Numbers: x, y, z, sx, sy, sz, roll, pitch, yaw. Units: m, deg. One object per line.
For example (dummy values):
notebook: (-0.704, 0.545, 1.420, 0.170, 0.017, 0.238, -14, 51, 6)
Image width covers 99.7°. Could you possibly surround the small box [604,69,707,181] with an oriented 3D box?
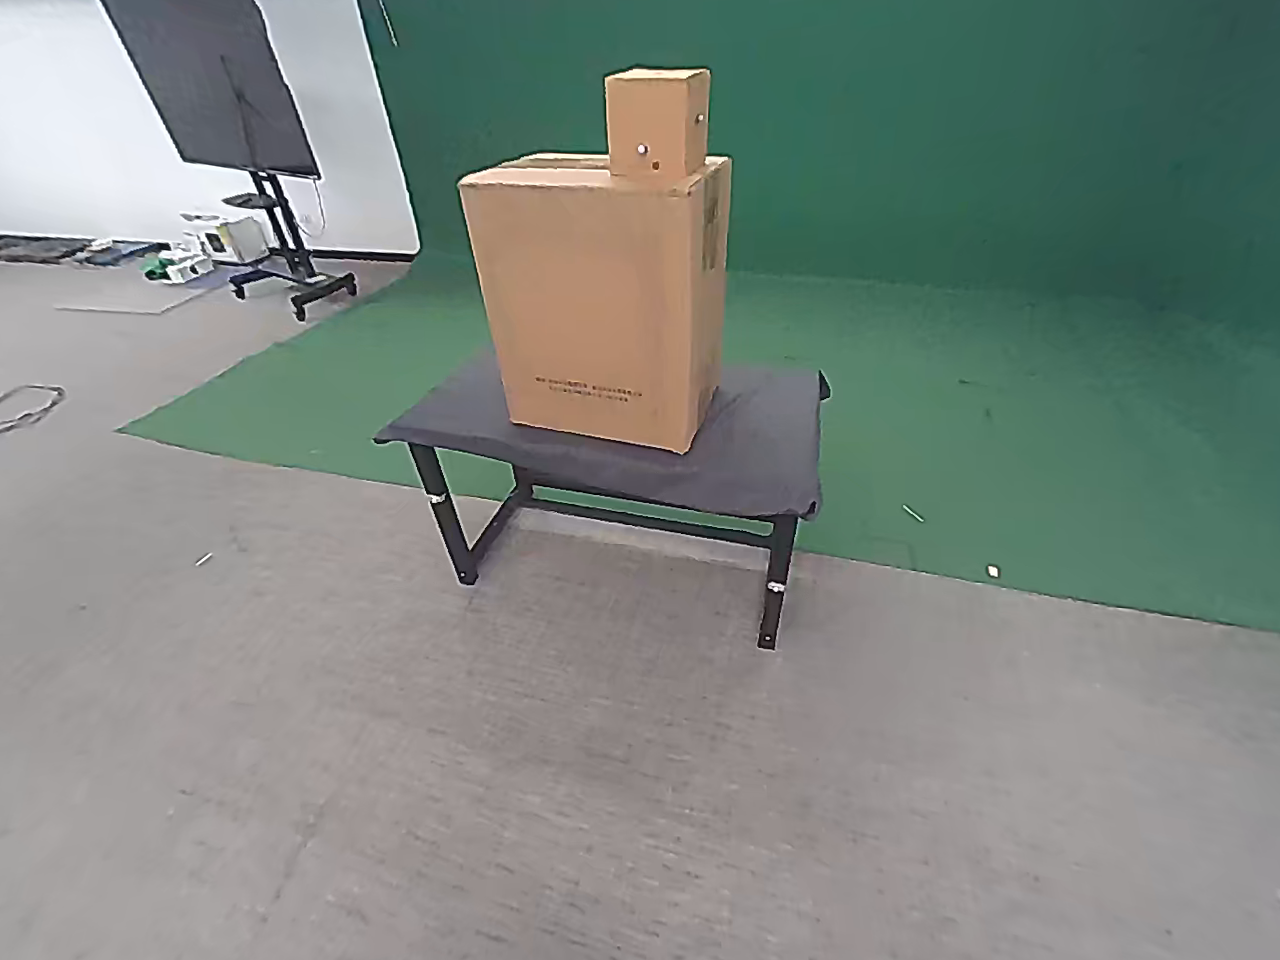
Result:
small box: (0.034, -0.741, 1.125, 0.168, 0.176, 0.179, 12, 43, 15)
